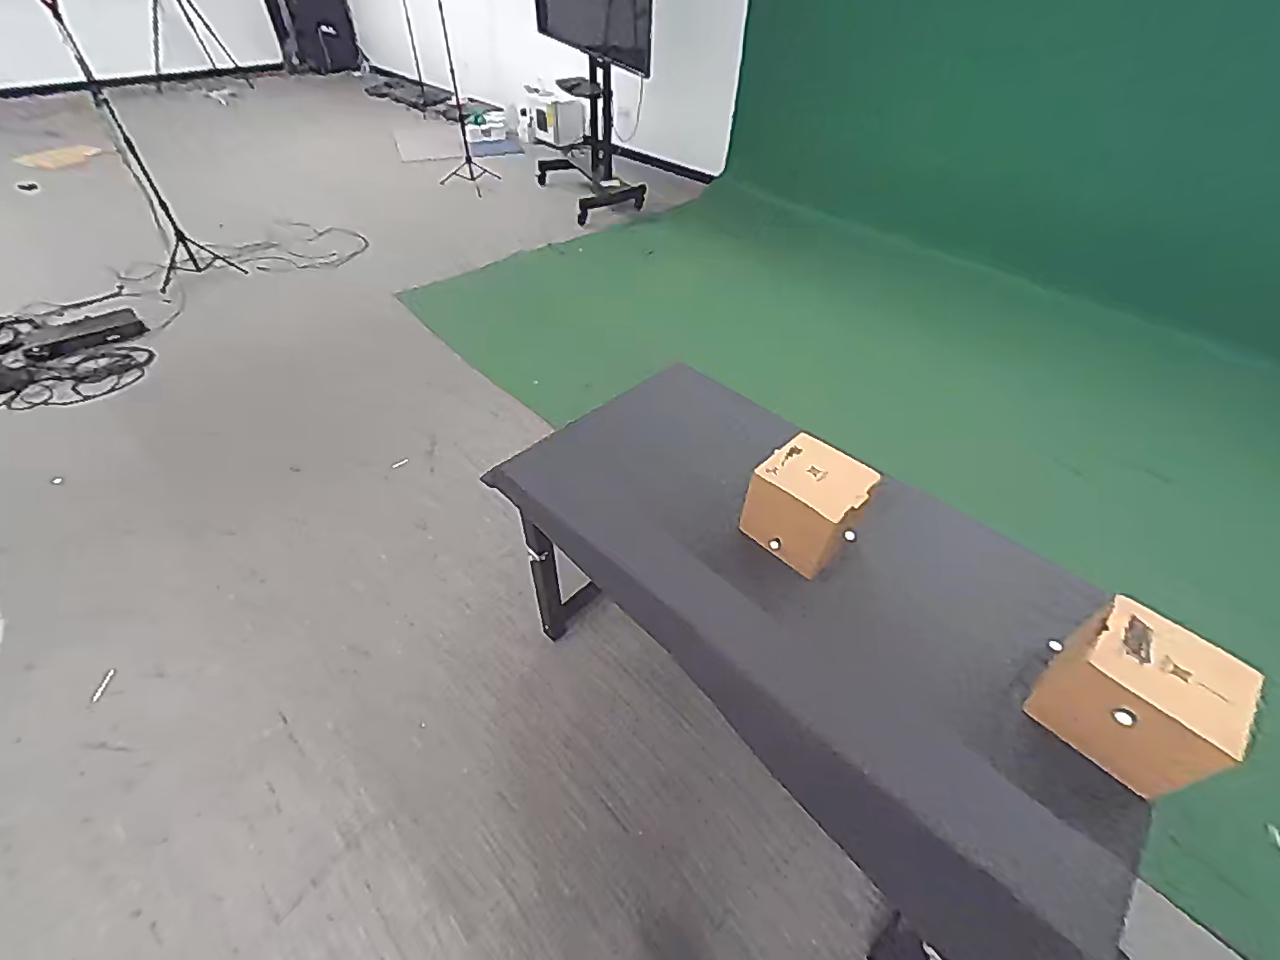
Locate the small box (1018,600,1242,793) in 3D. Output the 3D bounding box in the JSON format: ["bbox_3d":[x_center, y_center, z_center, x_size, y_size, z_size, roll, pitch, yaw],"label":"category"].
[{"bbox_3d":[0.716,0.323,0.807,0.168,0.176,0.179,-32,56,-32],"label":"small box"}]

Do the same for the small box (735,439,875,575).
[{"bbox_3d":[0.309,0.058,1.041,0.179,0.176,0.168,37,52,27],"label":"small box"}]
